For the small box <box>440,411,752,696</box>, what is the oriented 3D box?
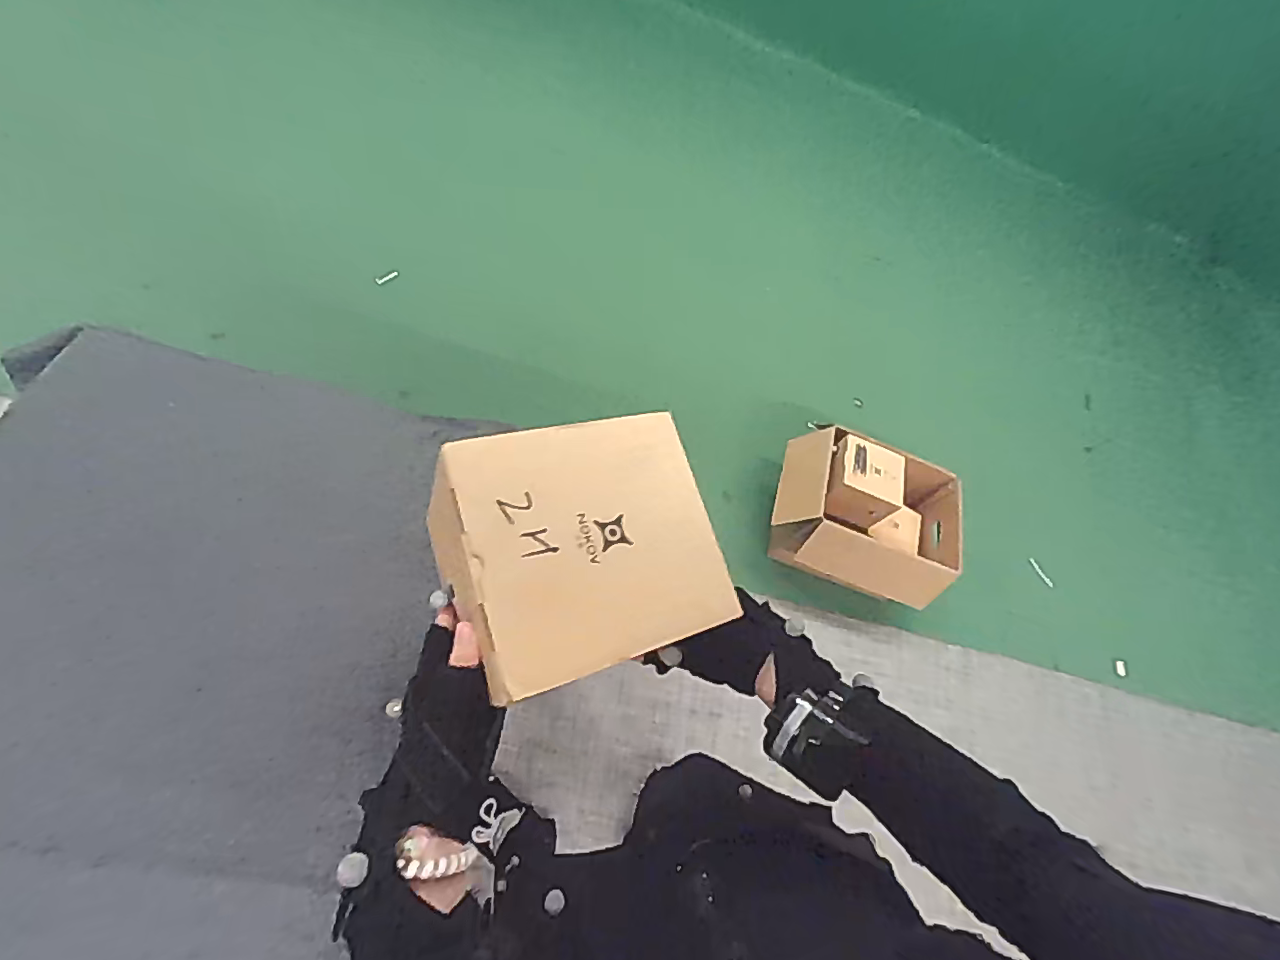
[{"bbox_3d":[-0.049,0.061,0.432,0.179,0.176,0.168,-11,74,-28],"label":"small box"}]
